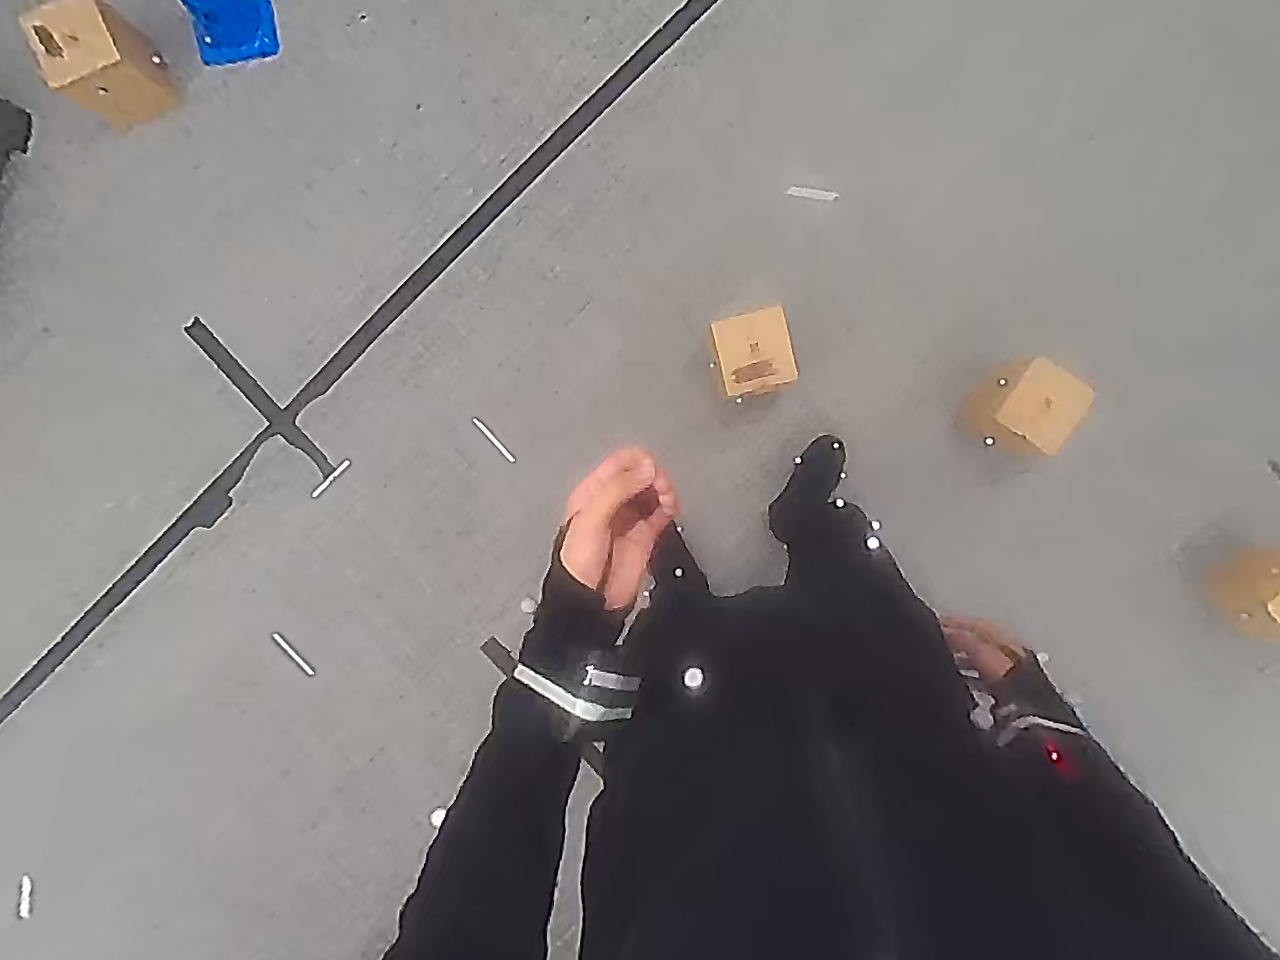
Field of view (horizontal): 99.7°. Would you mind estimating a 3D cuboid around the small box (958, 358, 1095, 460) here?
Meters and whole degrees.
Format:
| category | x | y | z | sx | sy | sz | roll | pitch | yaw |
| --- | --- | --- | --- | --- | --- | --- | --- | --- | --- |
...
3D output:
| category | x | y | z | sx | sy | sz | roll | pitch | yaw |
| --- | --- | --- | --- | --- | --- | --- | --- | --- | --- |
| small box | 0.913 | -0.166 | 1.299 | 0.168 | 0.176 | 0.179 | 32 | 94 | -1 |
